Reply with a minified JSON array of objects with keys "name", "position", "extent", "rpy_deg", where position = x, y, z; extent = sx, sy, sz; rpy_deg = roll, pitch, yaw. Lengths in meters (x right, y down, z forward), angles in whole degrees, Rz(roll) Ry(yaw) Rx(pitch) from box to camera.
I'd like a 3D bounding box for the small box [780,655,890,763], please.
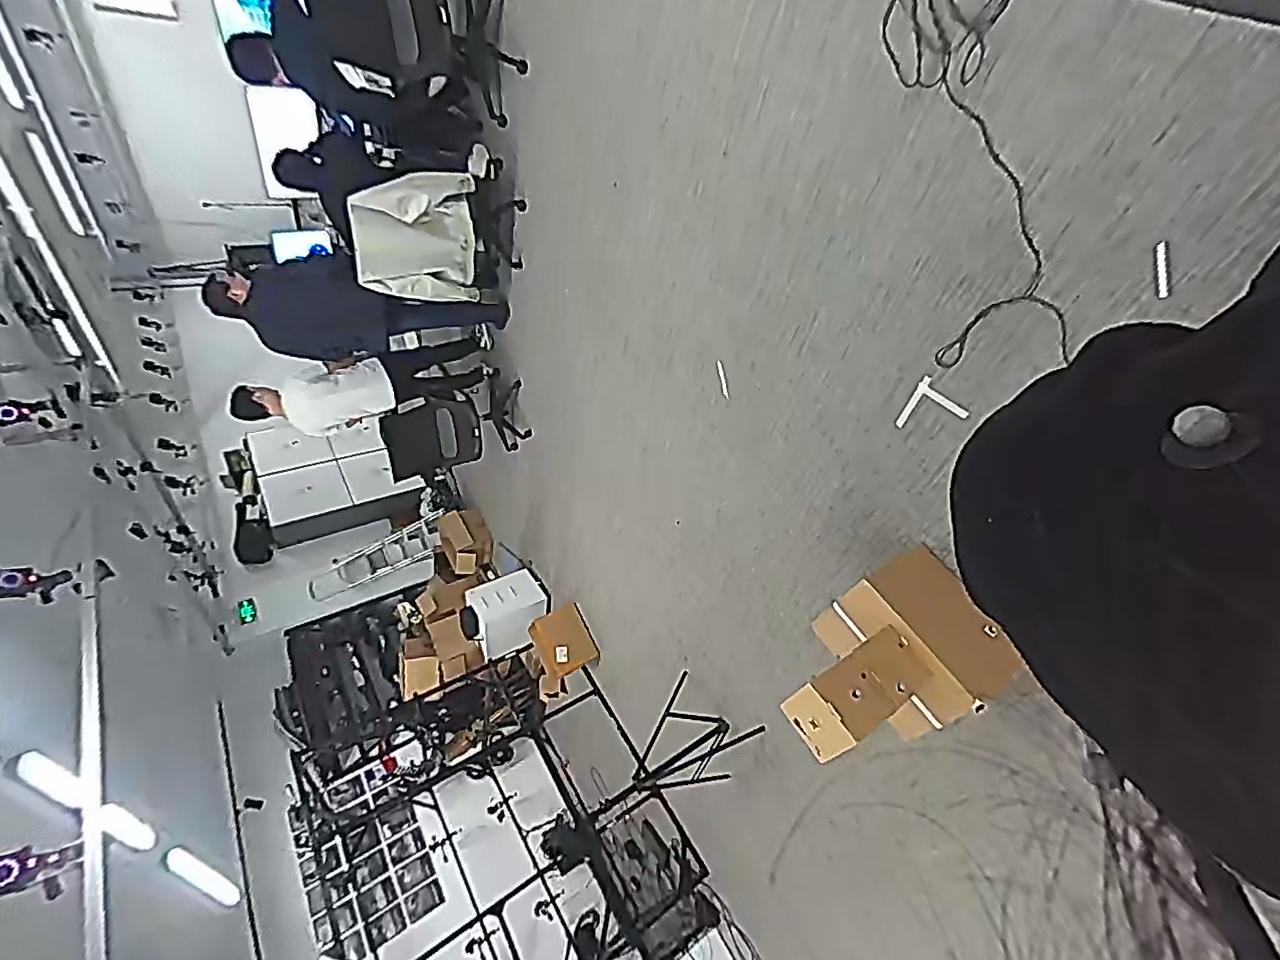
[{"name":"small box","position":[0.497,0.575,1.370],"extent":[0.168,0.176,0.179],"rpy_deg":[54,143,27]}]
